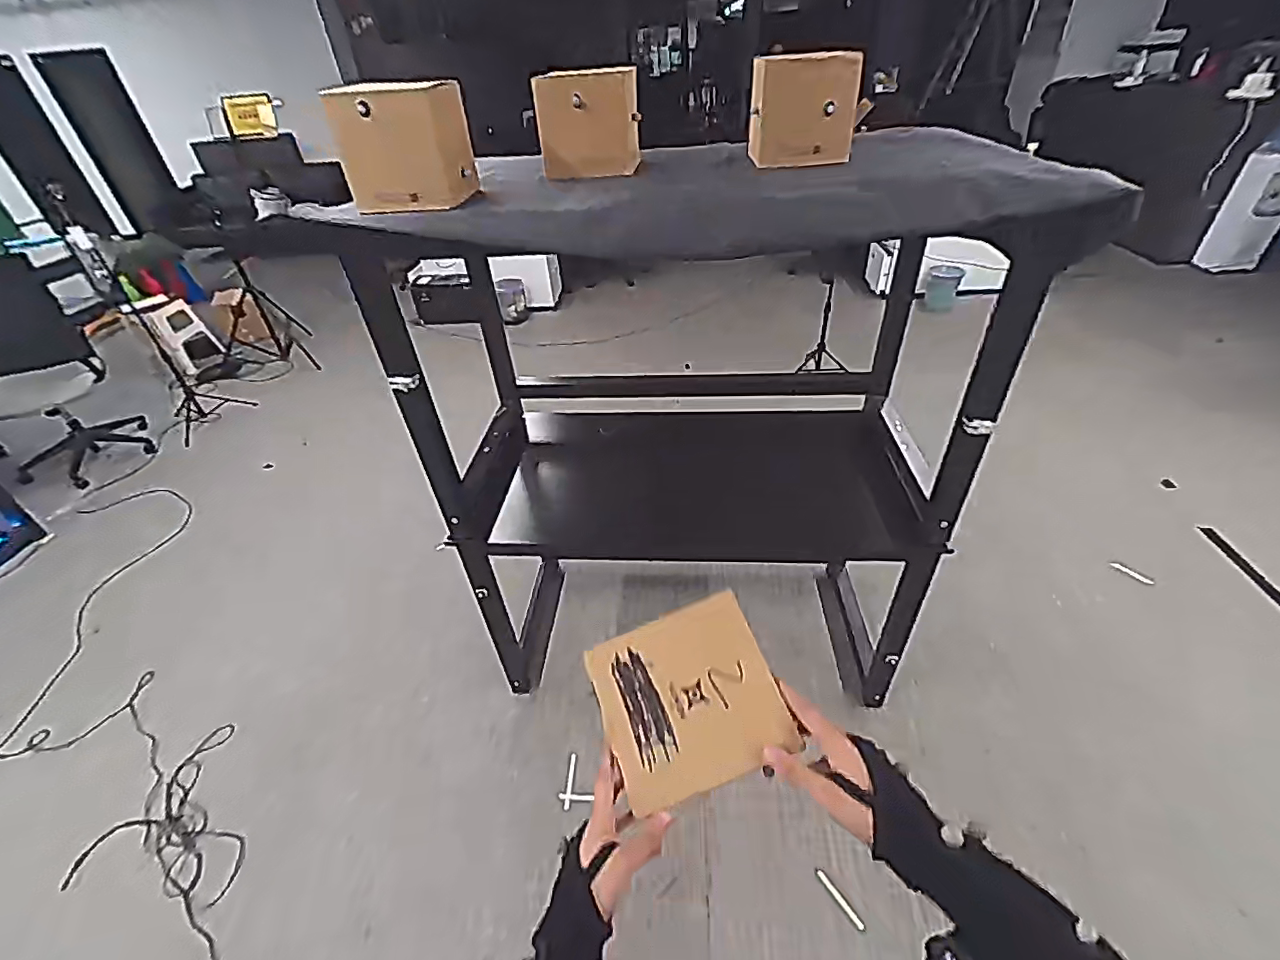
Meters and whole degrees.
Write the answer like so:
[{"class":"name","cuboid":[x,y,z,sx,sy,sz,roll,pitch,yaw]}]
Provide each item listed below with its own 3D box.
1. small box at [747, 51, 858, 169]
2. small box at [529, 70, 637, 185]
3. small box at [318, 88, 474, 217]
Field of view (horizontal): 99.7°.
[{"class":"small box","cuboid":[0.298,-0.700,1.030,0.168,0.176,0.179,-1,39,4]},{"class":"small box","cuboid":[-0.101,-0.698,1.071,0.179,0.176,0.168,0,39,7]},{"class":"small box","cuboid":[-0.394,-0.553,0.913,0.168,0.176,0.179,-2,38,3]}]
